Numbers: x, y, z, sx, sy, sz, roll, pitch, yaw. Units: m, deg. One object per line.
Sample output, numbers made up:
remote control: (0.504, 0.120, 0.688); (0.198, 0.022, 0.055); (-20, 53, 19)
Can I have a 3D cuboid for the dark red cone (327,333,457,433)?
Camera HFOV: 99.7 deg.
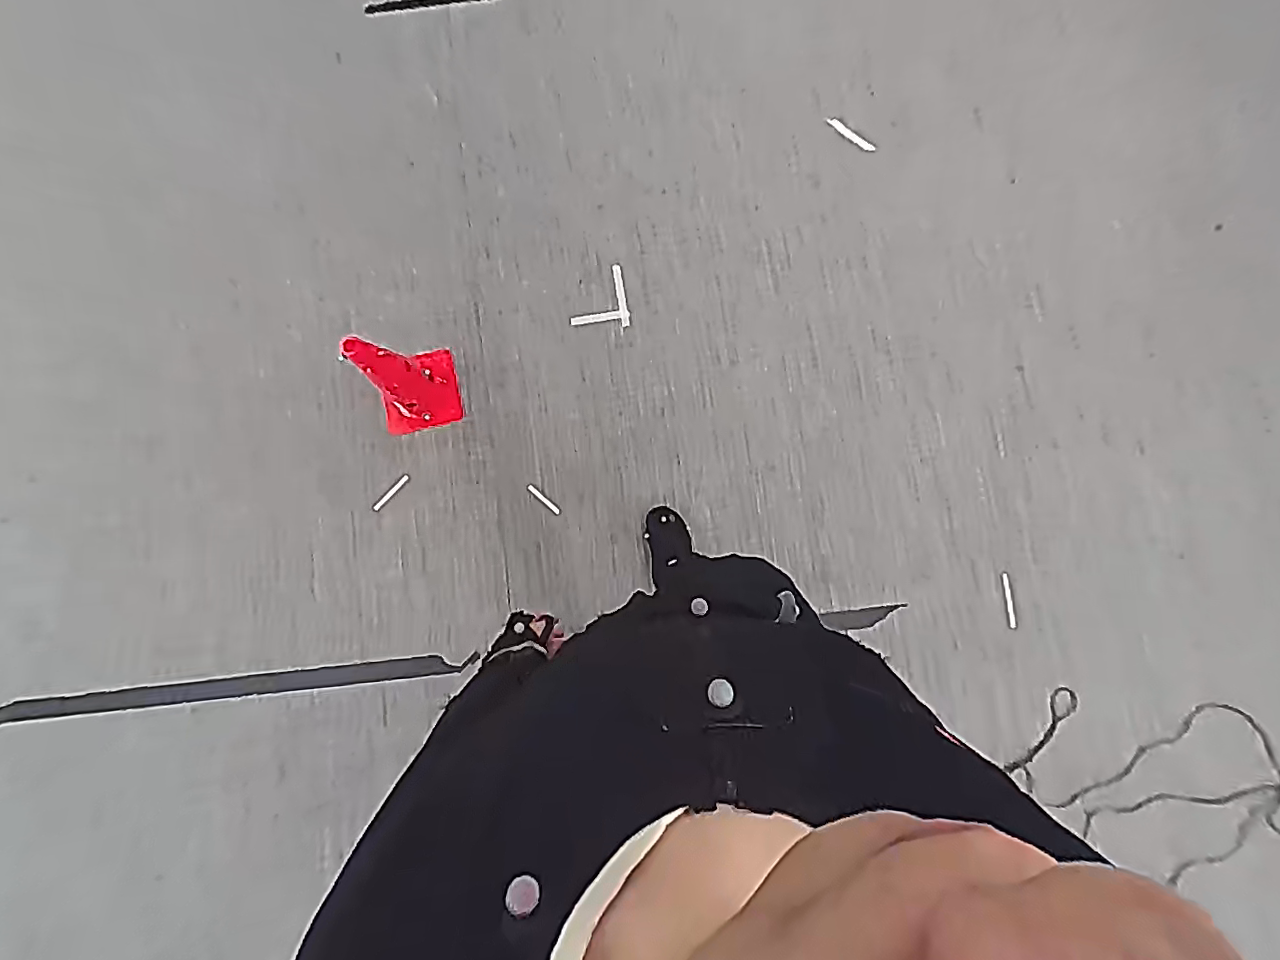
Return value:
dark red cone: (-0.574, -0.242, 1.206); (0.202, 0.394, 0.201); (-14, 86, -2)
